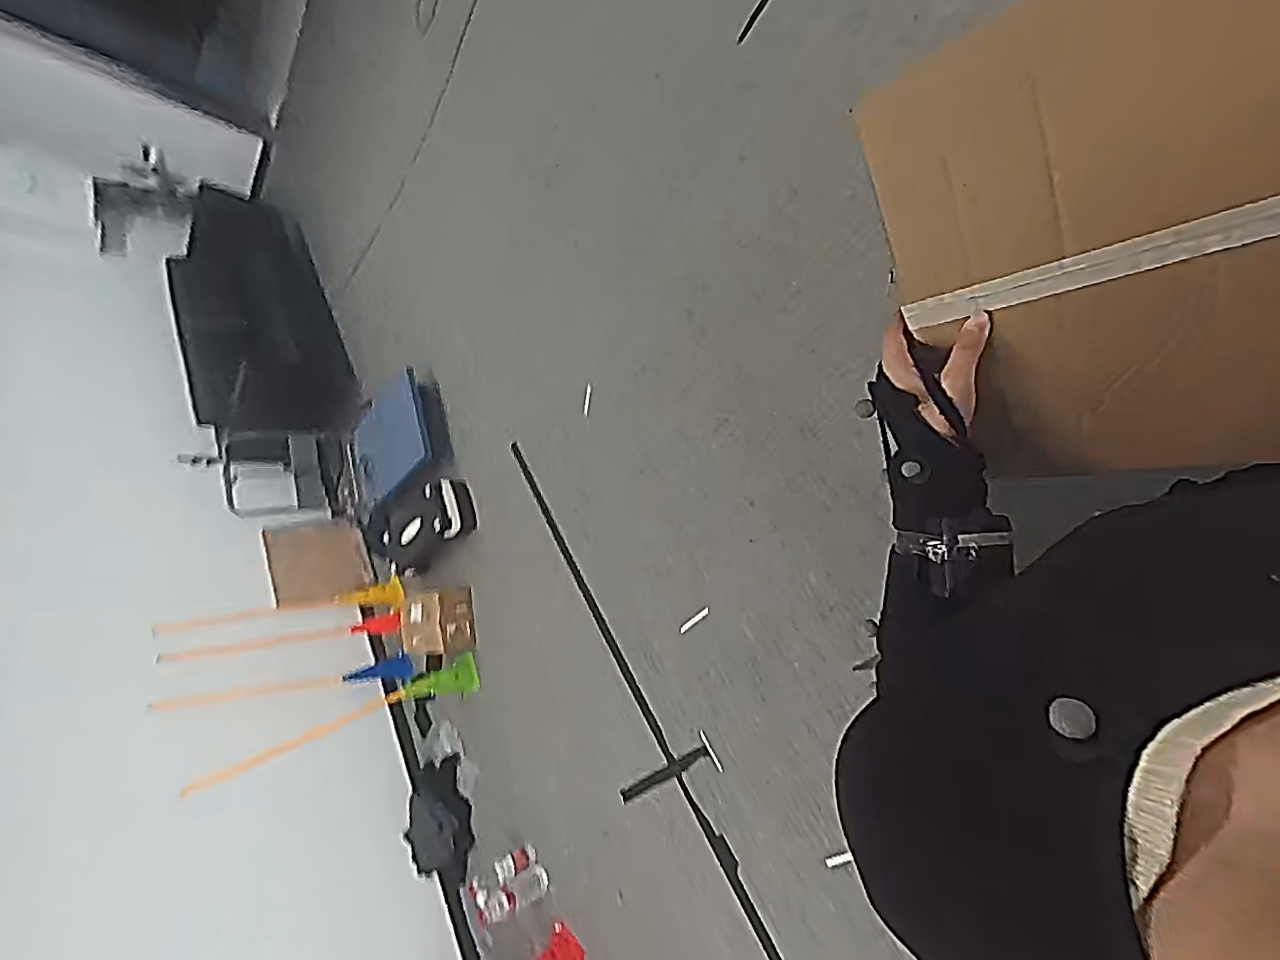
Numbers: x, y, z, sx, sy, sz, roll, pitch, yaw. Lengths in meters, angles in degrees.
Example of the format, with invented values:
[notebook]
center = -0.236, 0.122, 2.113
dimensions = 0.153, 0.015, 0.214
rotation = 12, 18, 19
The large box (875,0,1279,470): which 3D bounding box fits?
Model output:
[large box]
center = 0.449, -0.231, 0.380
dimensions = 0.408, 0.320, 0.320
rotation = -6, 118, 45
